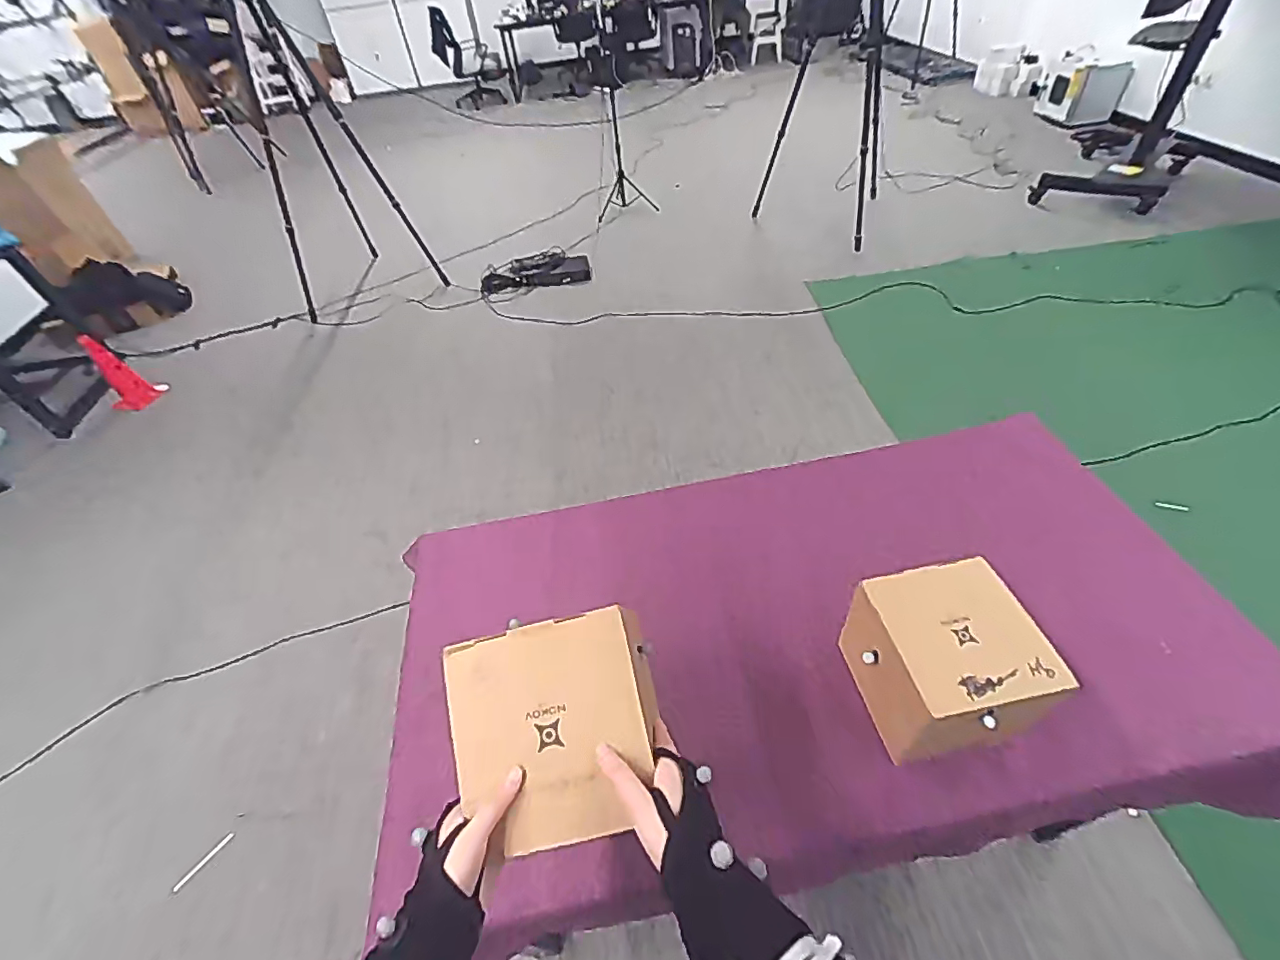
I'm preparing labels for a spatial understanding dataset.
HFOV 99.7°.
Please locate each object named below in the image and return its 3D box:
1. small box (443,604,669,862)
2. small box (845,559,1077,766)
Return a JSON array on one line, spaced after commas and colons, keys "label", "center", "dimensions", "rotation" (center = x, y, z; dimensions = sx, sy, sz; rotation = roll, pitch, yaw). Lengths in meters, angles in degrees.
[{"label": "small box", "center": [-0.070, 0.227, 0.530], "dimensions": [0.168, 0.176, 0.179], "rotation": [-14, 77, 2]}, {"label": "small box", "center": [0.379, 0.230, 0.683], "dimensions": [0.168, 0.176, 0.179], "rotation": [-12, 46, -2]}]
